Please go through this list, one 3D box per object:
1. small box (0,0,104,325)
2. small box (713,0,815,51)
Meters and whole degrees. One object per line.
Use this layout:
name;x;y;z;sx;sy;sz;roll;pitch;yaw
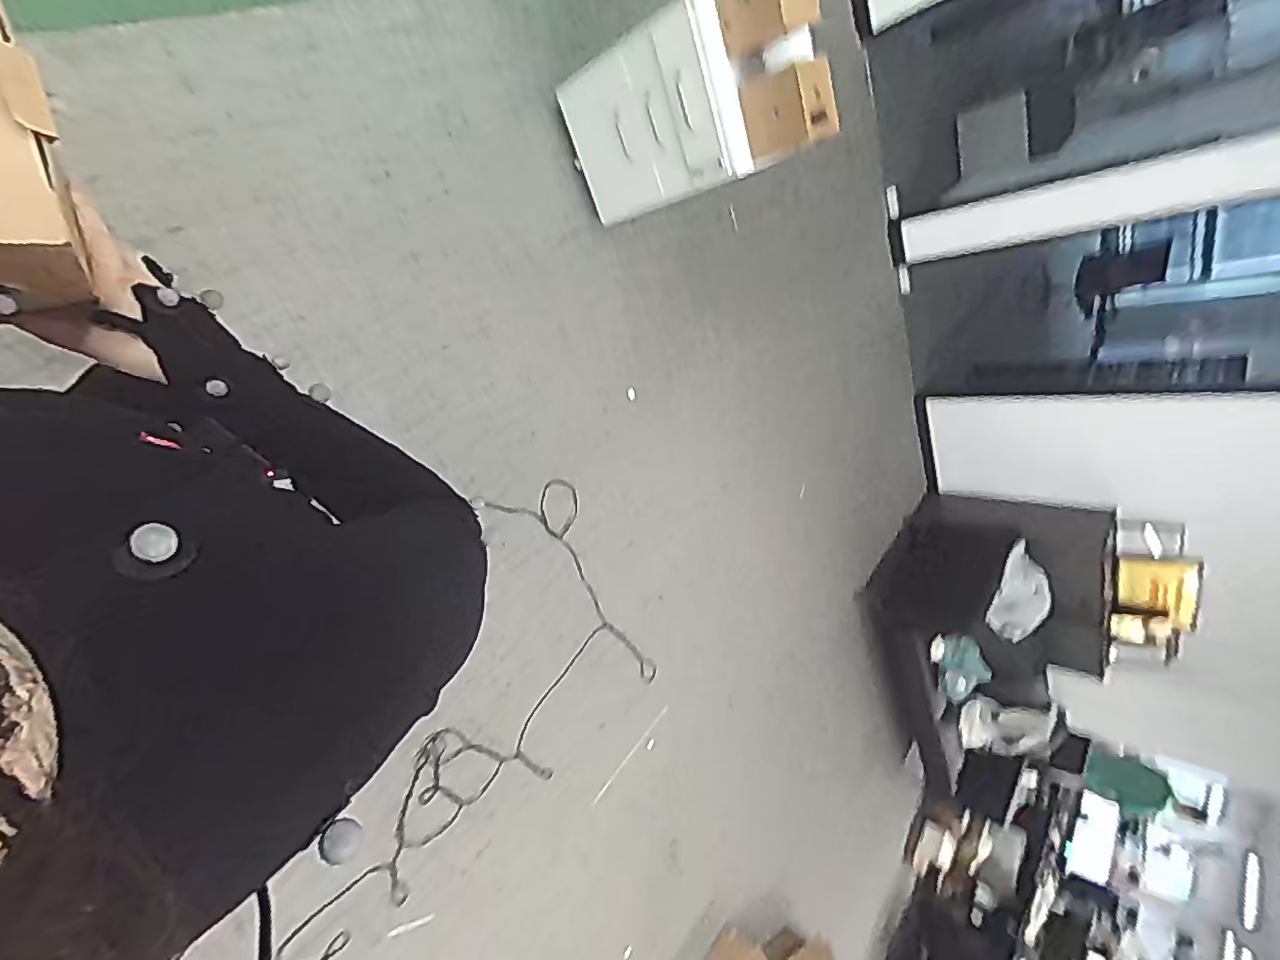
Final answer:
small box;-0.442;-0.189;0.303;0.179;0.176;0.168;-16;98;-39
small box;0.286;-1.154;1.281;0.179;0.176;0.168;-40;123;-33
